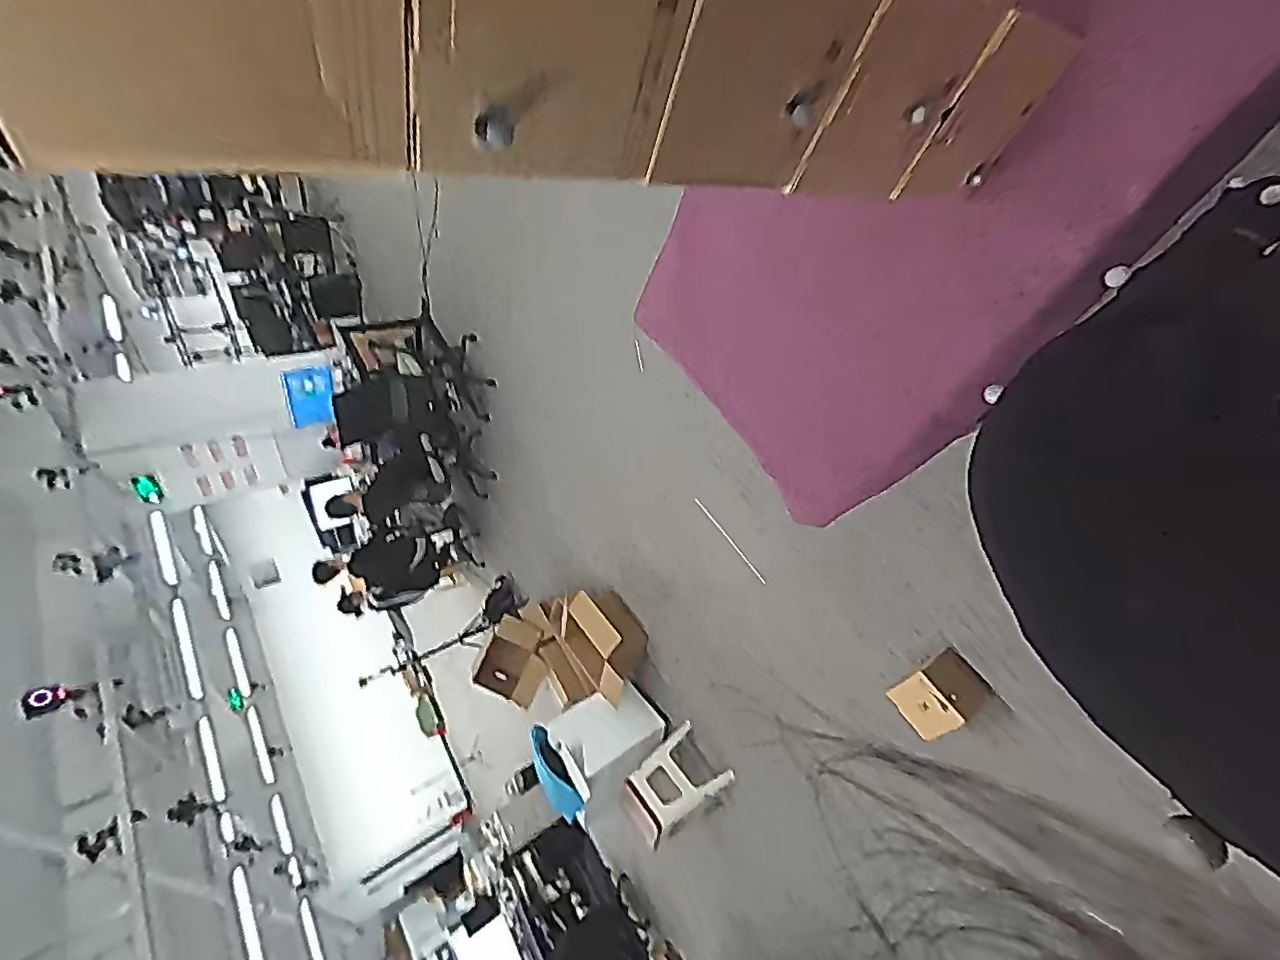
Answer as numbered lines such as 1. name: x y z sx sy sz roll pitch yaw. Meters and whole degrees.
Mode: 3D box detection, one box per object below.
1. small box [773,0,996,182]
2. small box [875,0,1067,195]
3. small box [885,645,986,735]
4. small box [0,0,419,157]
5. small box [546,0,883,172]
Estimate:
1. small box: 0.182 -0.405 0.515 0.179 0.176 0.168 54 143 23
2. small box: 0.316 -0.444 0.602 0.179 0.176 0.168 55 143 23
3. small box: 0.889 0.629 1.627 0.168 0.176 0.179 53 143 25
4. small box: -0.212 -0.279 0.253 0.168 0.176 0.179 55 143 24
5. small box: 0.051 -0.365 0.427 0.179 0.176 0.168 54 144 23
